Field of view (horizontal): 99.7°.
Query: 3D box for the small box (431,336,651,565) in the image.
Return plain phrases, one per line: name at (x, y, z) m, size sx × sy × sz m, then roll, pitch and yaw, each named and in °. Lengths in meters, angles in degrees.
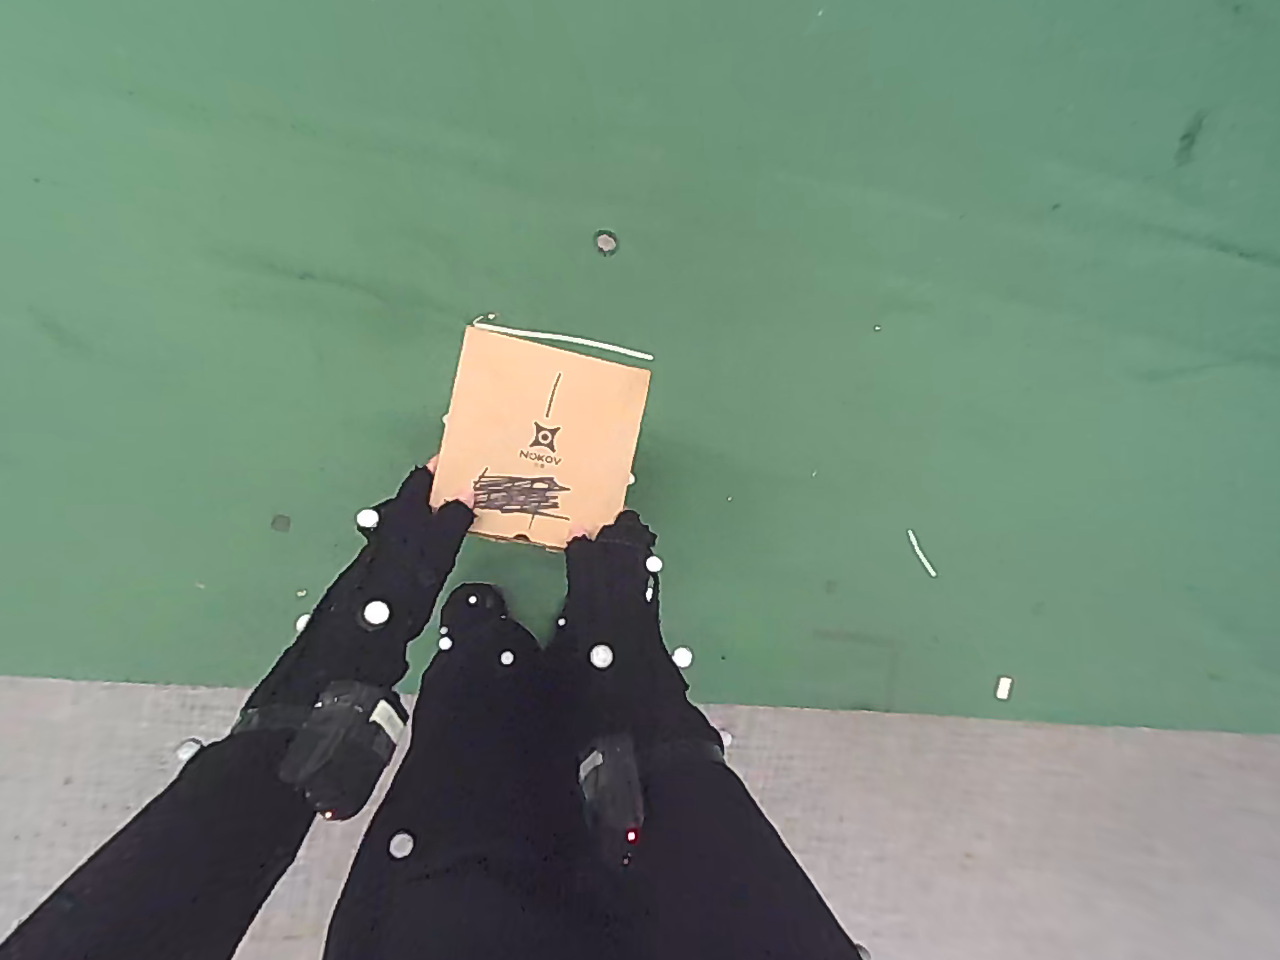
small box at (-0.098, -0.025, 0.555) m, size 0.168 × 0.176 × 0.179 m, roll 12°, pitch 89°, yaw -11°
